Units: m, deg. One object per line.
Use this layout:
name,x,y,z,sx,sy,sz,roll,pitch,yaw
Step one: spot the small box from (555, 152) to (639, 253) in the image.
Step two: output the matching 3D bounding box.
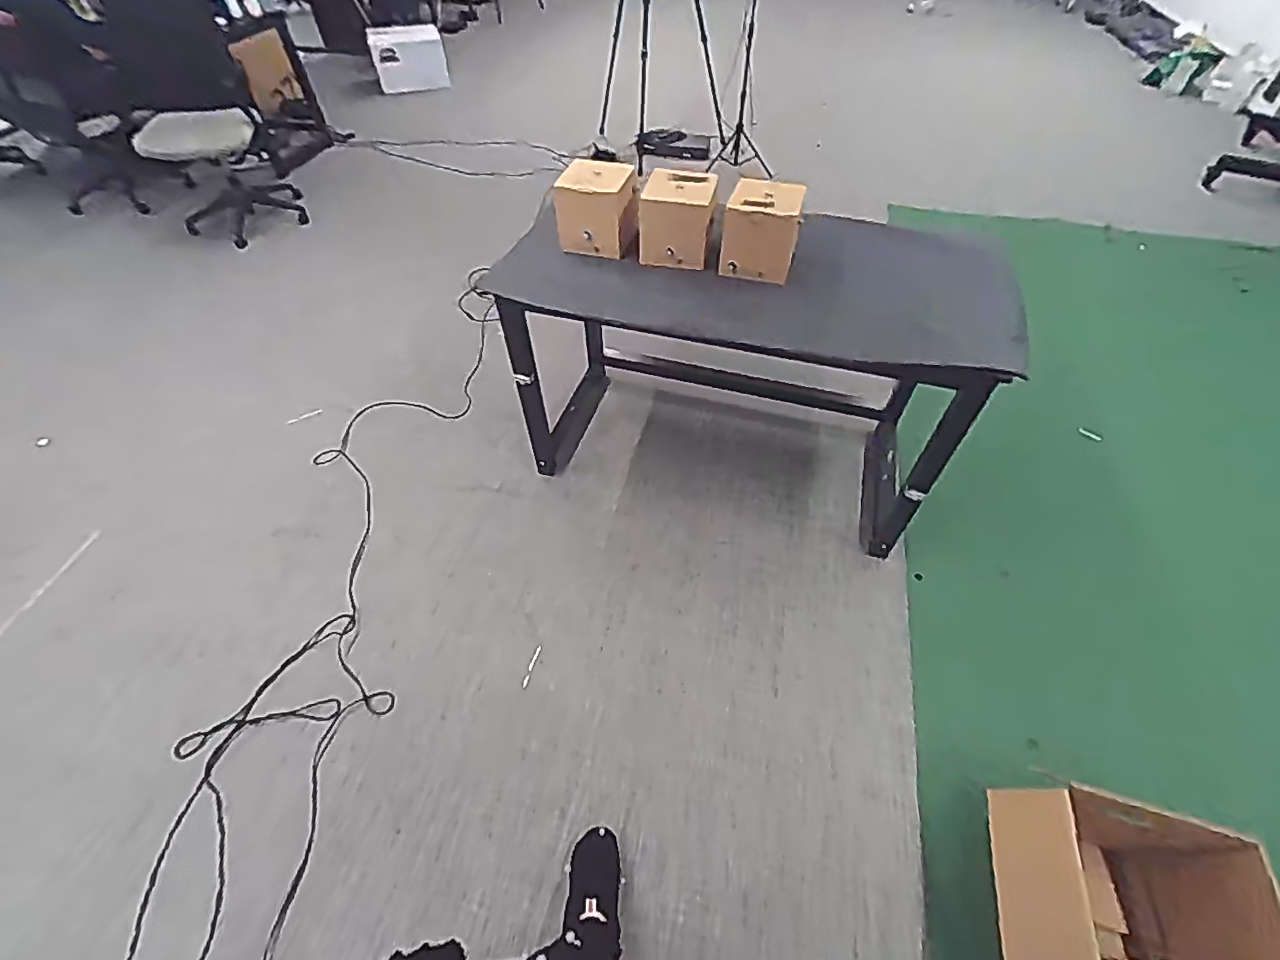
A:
small box,-0.105,-0.714,1.394,0.168,0.176,0.179,12,52,10
